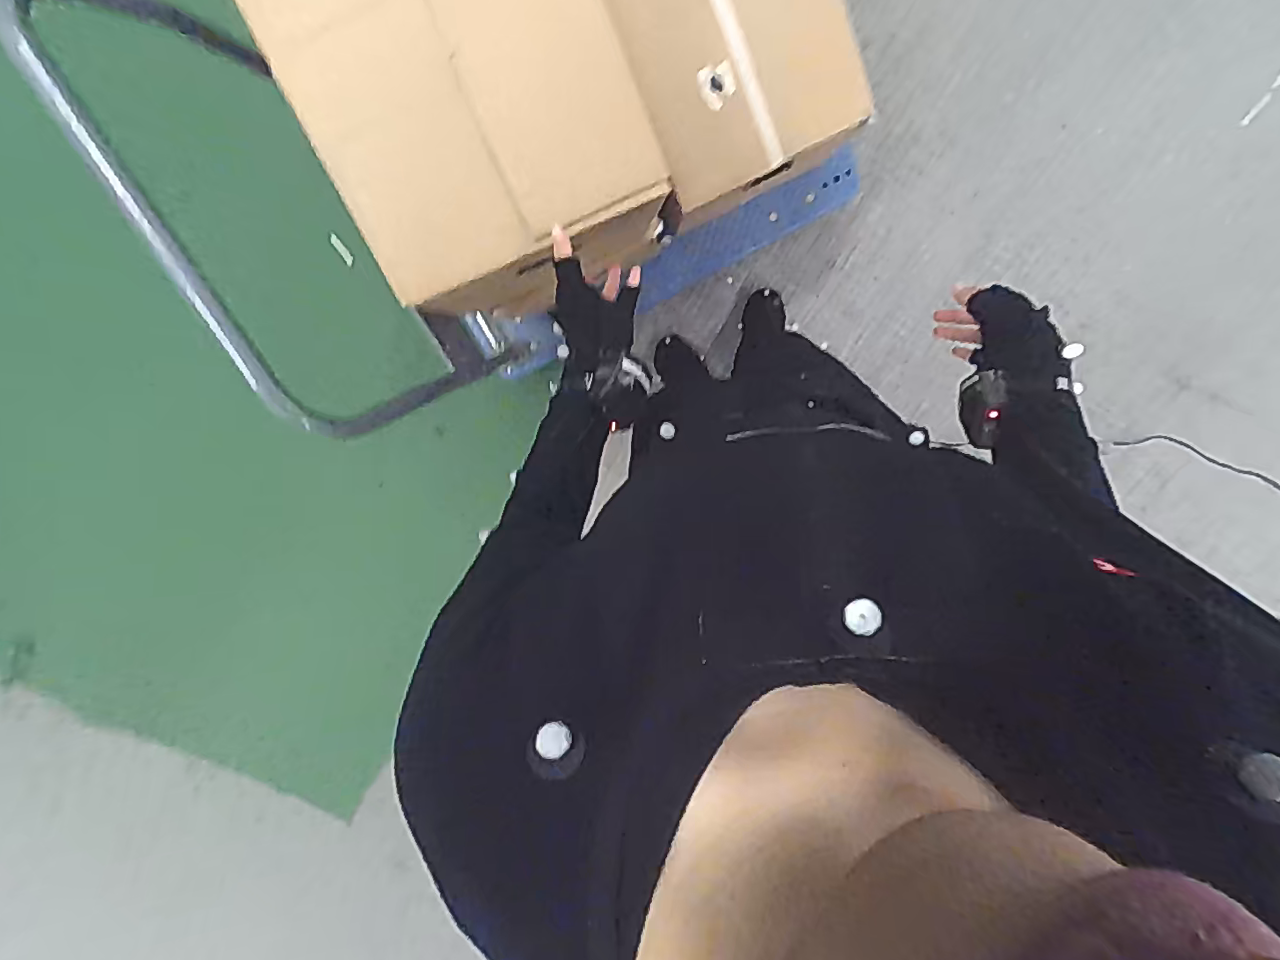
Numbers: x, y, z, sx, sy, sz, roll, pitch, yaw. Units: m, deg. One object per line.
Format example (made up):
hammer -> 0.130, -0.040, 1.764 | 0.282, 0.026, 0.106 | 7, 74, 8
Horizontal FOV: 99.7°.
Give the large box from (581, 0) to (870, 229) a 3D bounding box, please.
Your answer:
large box -> 0.119, -0.701, 0.906 | 0.320, 0.320, 0.408 | -24, 107, 9
